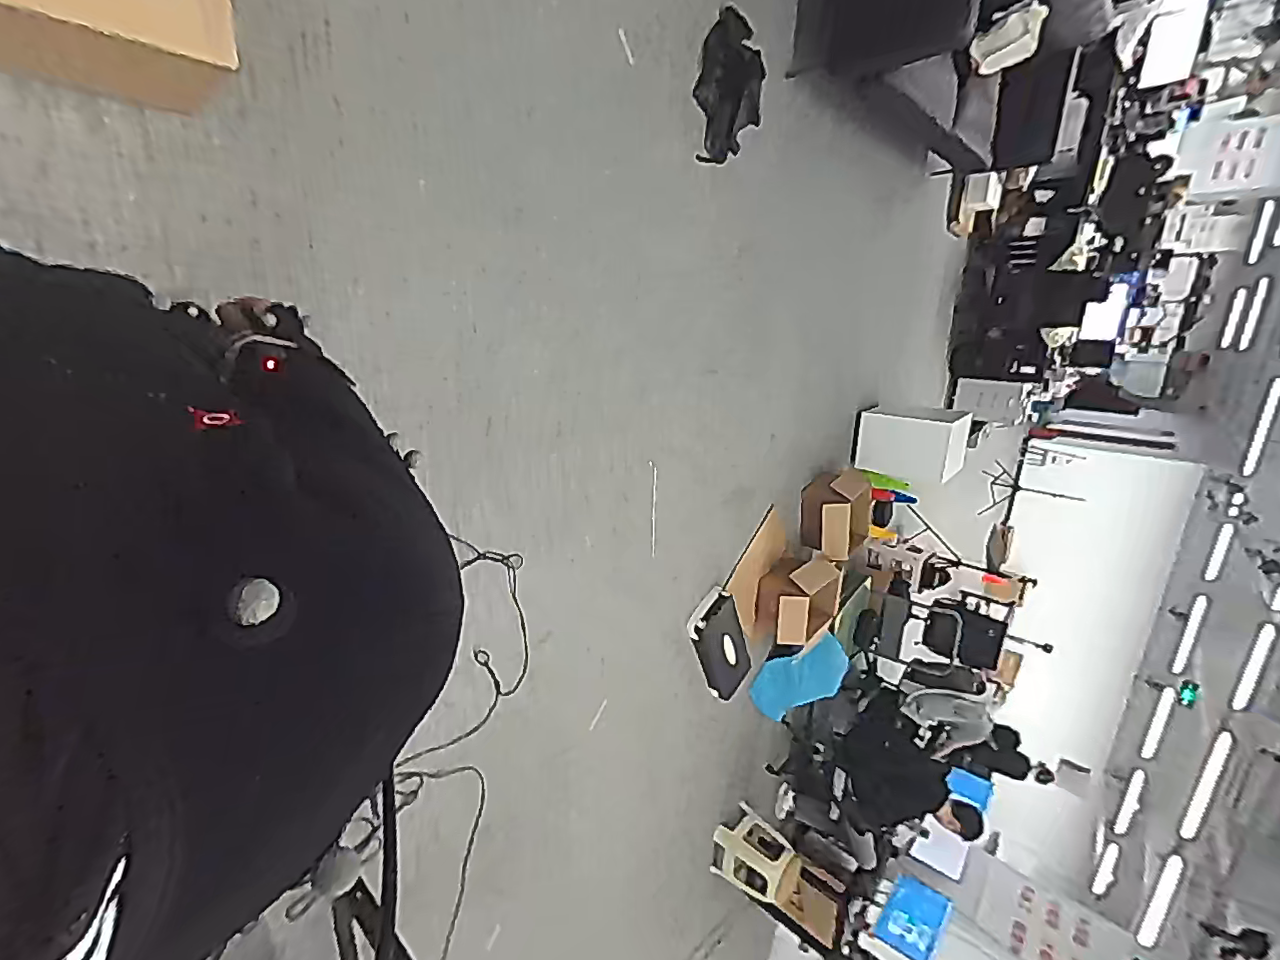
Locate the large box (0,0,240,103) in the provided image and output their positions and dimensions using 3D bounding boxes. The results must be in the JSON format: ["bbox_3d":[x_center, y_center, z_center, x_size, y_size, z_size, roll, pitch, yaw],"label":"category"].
[{"bbox_3d":[-0.833,-0.758,0.709,0.408,0.320,0.320,-17,116,-47],"label":"large box"}]
